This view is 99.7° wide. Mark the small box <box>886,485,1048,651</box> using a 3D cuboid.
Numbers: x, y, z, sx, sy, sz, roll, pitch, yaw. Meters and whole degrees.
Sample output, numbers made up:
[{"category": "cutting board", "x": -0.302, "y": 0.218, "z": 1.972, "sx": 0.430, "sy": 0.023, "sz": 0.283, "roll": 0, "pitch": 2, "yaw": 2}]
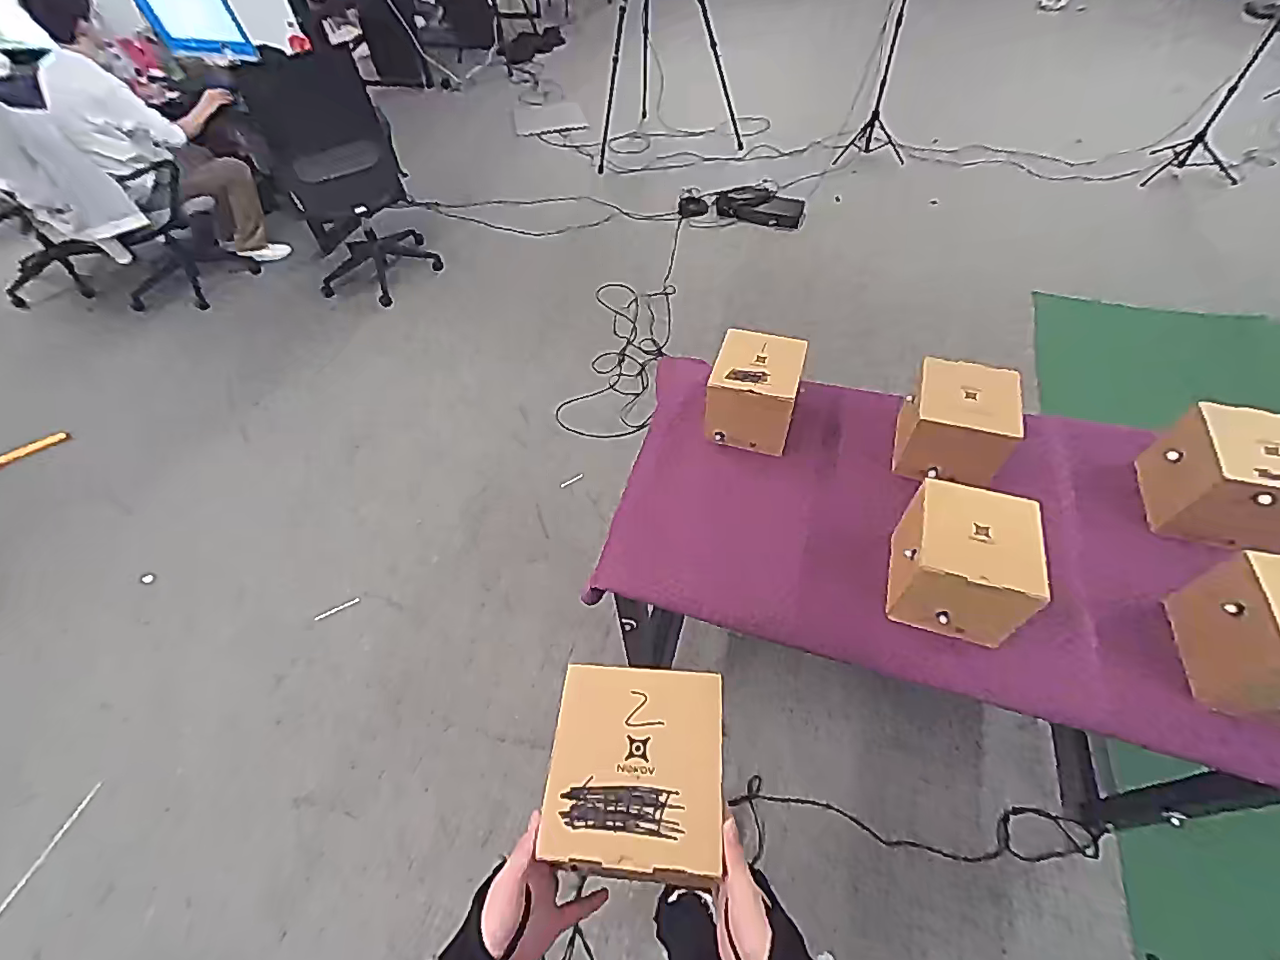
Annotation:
[{"category": "small box", "x": 0.505, "y": 0.141, "z": 0.858, "sx": 0.168, "sy": 0.176, "sz": 0.179, "roll": 15, "pitch": 55, "yaw": 13}]

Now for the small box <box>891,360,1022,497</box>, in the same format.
[{"category": "small box", "x": 0.596, "y": -0.095, "z": 1.033, "sx": 0.168, "sy": 0.176, "sz": 0.179, "roll": 15, "pitch": 56, "yaw": 14}]

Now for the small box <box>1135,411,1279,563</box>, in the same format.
[{"category": "small box", "x": 1.005, "y": 0.013, "z": 0.929, "sx": 0.168, "sy": 0.176, "sz": 0.179, "roll": 14, "pitch": 55, "yaw": 14}]

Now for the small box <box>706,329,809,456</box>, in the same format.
[{"category": "small box", "x": 0.234, "y": -0.175, "z": 1.105, "sx": 0.168, "sy": 0.176, "sz": 0.179, "roll": 14, "pitch": 56, "yaw": 13}]

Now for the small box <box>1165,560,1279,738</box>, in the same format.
[{"category": "small box", "x": 0.900, "y": 0.243, "z": 0.758, "sx": 0.168, "sy": 0.176, "sz": 0.179, "roll": 12, "pitch": 54, "yaw": 13}]
